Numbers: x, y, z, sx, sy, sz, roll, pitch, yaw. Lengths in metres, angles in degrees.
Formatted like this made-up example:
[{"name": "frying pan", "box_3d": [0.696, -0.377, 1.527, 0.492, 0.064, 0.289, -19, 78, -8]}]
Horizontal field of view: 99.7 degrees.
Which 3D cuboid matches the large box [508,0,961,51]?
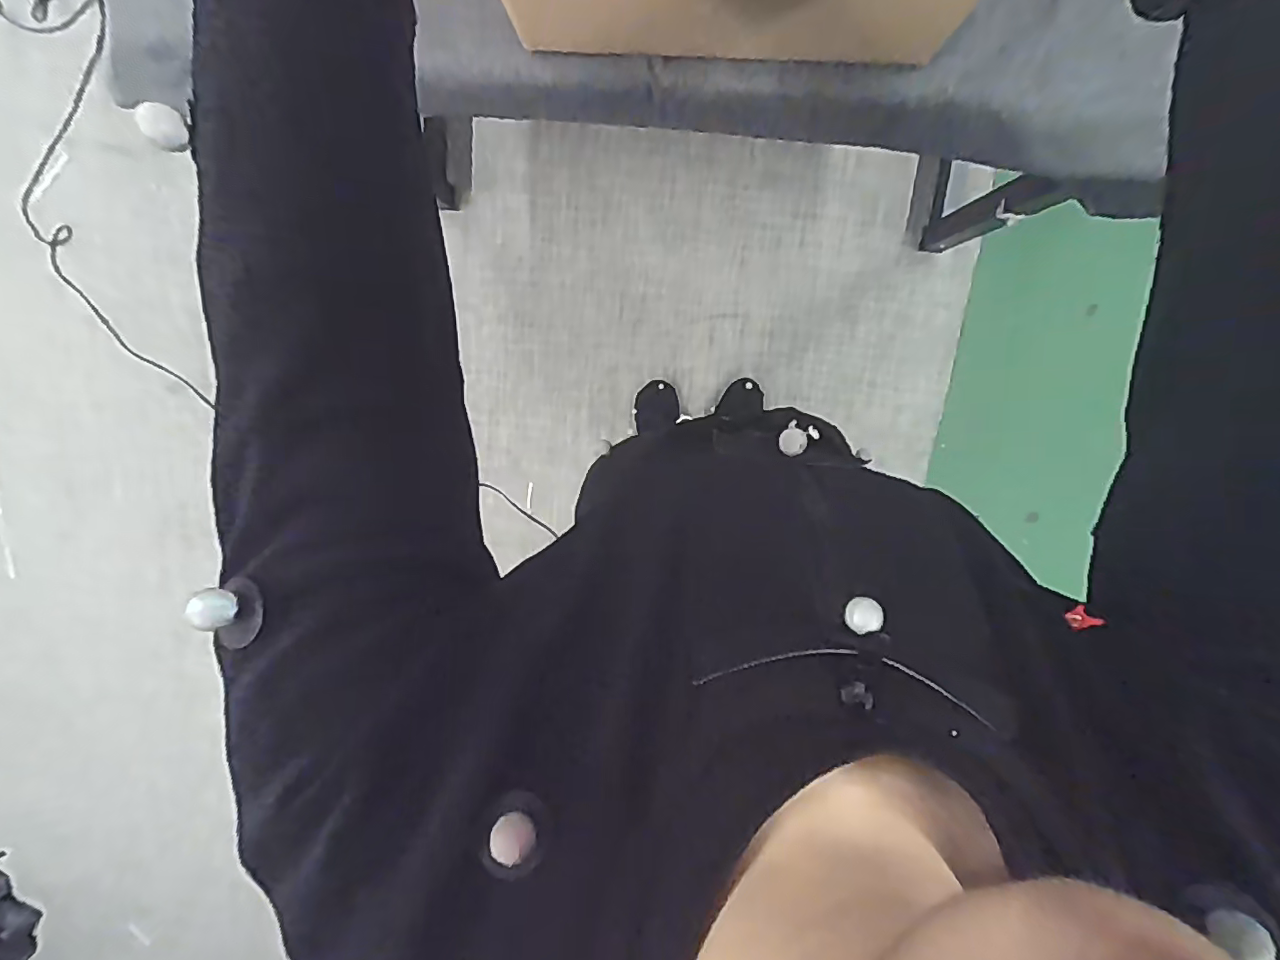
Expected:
[{"name": "large box", "box_3d": [0.079, -0.547, 0.363, 0.408, 0.320, 0.320, 3, 102, 2]}]
